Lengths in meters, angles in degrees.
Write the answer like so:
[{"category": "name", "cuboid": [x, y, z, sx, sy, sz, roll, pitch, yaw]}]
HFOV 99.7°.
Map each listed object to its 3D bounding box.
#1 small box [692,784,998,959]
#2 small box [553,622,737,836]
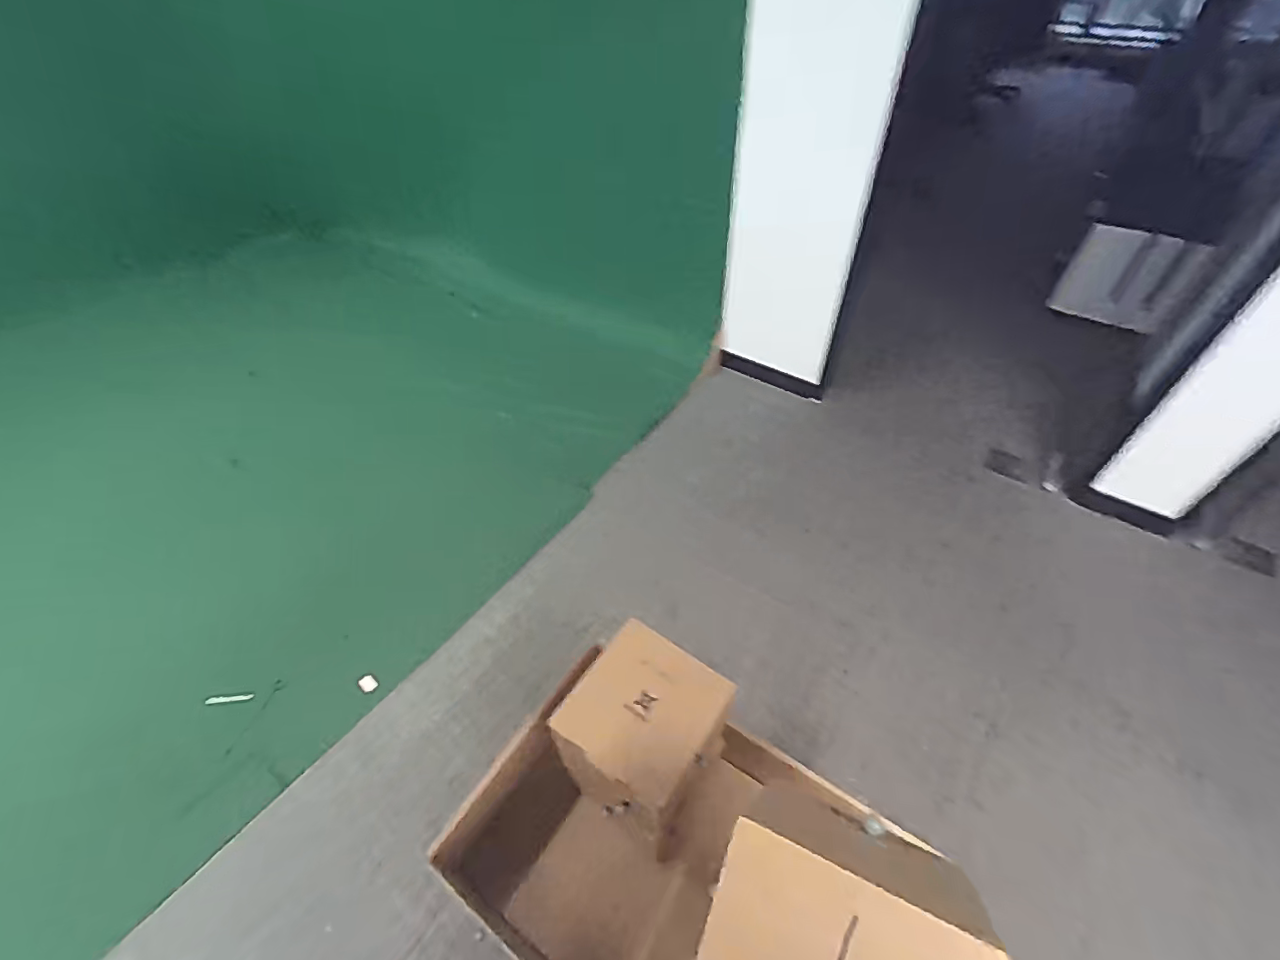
[{"category": "small box", "cuboid": [0.137, 0.356, 0.393, 0.168, 0.176, 0.179, 14, 77, 26]}, {"category": "small box", "cuboid": [0.010, 0.335, 0.724, 0.168, 0.176, 0.179, 30, 54, 24]}]
